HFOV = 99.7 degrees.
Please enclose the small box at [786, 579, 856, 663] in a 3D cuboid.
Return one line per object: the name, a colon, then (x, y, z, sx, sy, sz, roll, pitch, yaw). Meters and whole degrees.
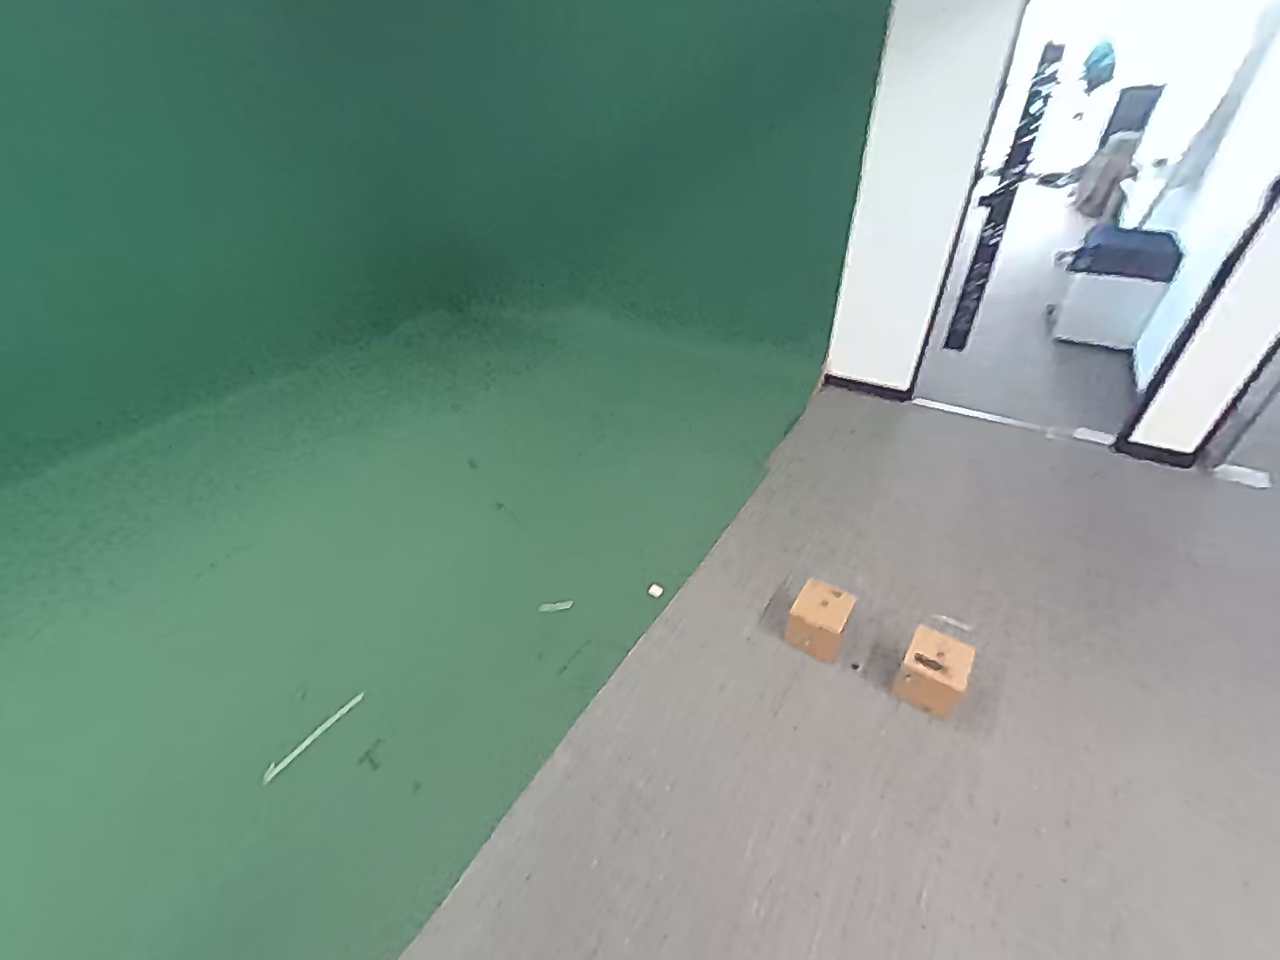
small box: (0.594, 0.470, 1.790, 0.168, 0.176, 0.179, 22, 45, 29)
